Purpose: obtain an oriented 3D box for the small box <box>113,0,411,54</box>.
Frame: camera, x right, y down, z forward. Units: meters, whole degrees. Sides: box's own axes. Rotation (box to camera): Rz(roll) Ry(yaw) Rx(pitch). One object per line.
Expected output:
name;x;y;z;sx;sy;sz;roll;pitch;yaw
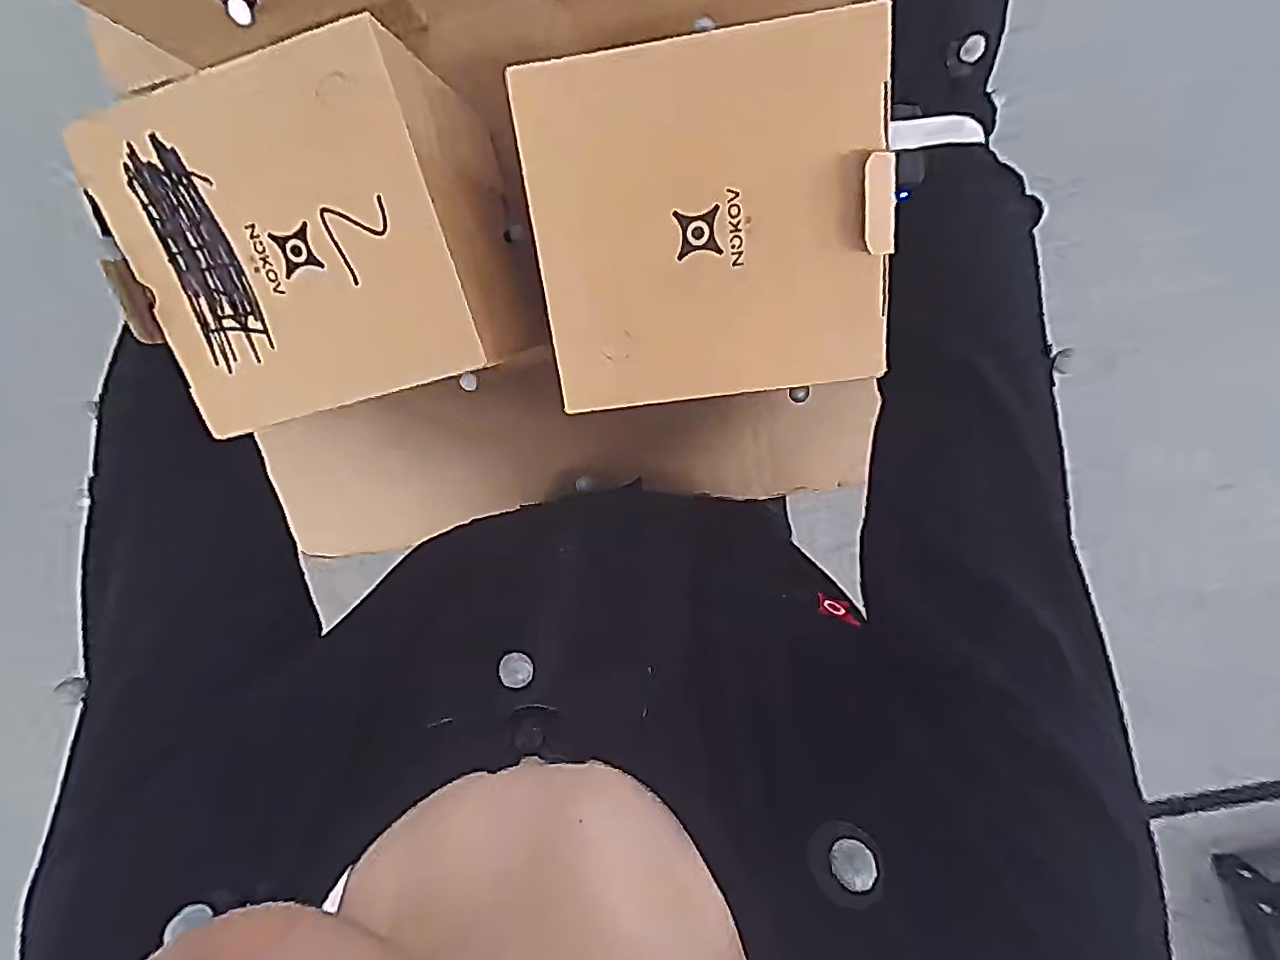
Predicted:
small box;-0.257;-0.381;0.301;0.168;0.176;0.179;-10;103;7
